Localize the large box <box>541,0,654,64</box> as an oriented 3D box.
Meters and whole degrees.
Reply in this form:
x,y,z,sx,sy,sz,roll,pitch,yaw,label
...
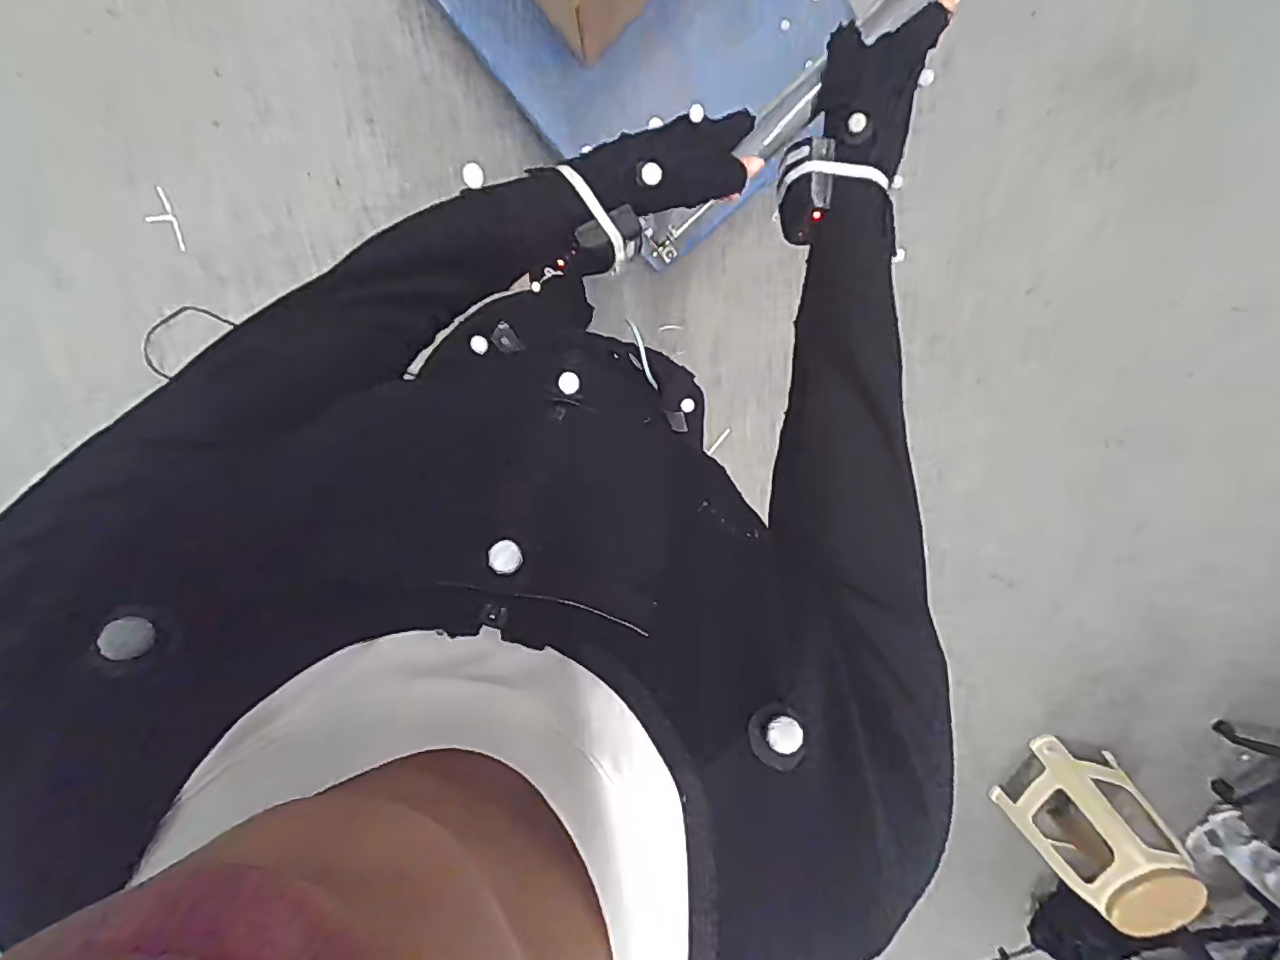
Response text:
x,y,z,sx,sy,sz,roll,pitch,yaw,label
-0.039,-0.948,0.793,0.408,0.320,0.320,-41,107,14,large box
